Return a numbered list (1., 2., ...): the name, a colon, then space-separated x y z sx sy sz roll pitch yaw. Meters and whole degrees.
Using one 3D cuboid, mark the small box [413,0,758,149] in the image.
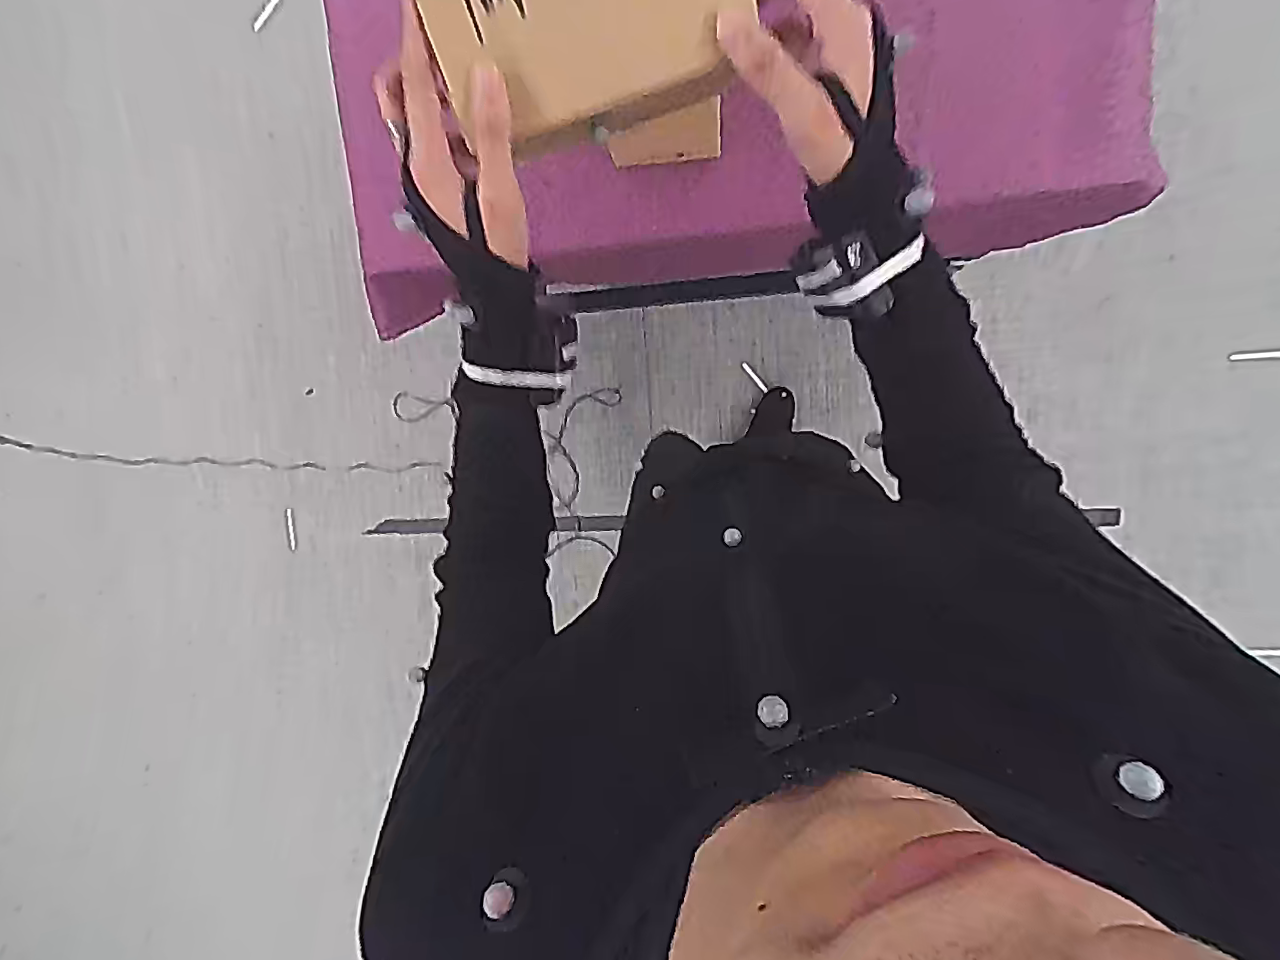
1. small box: -0.040 -0.324 0.333 0.179 0.176 0.168 -15 116 7
